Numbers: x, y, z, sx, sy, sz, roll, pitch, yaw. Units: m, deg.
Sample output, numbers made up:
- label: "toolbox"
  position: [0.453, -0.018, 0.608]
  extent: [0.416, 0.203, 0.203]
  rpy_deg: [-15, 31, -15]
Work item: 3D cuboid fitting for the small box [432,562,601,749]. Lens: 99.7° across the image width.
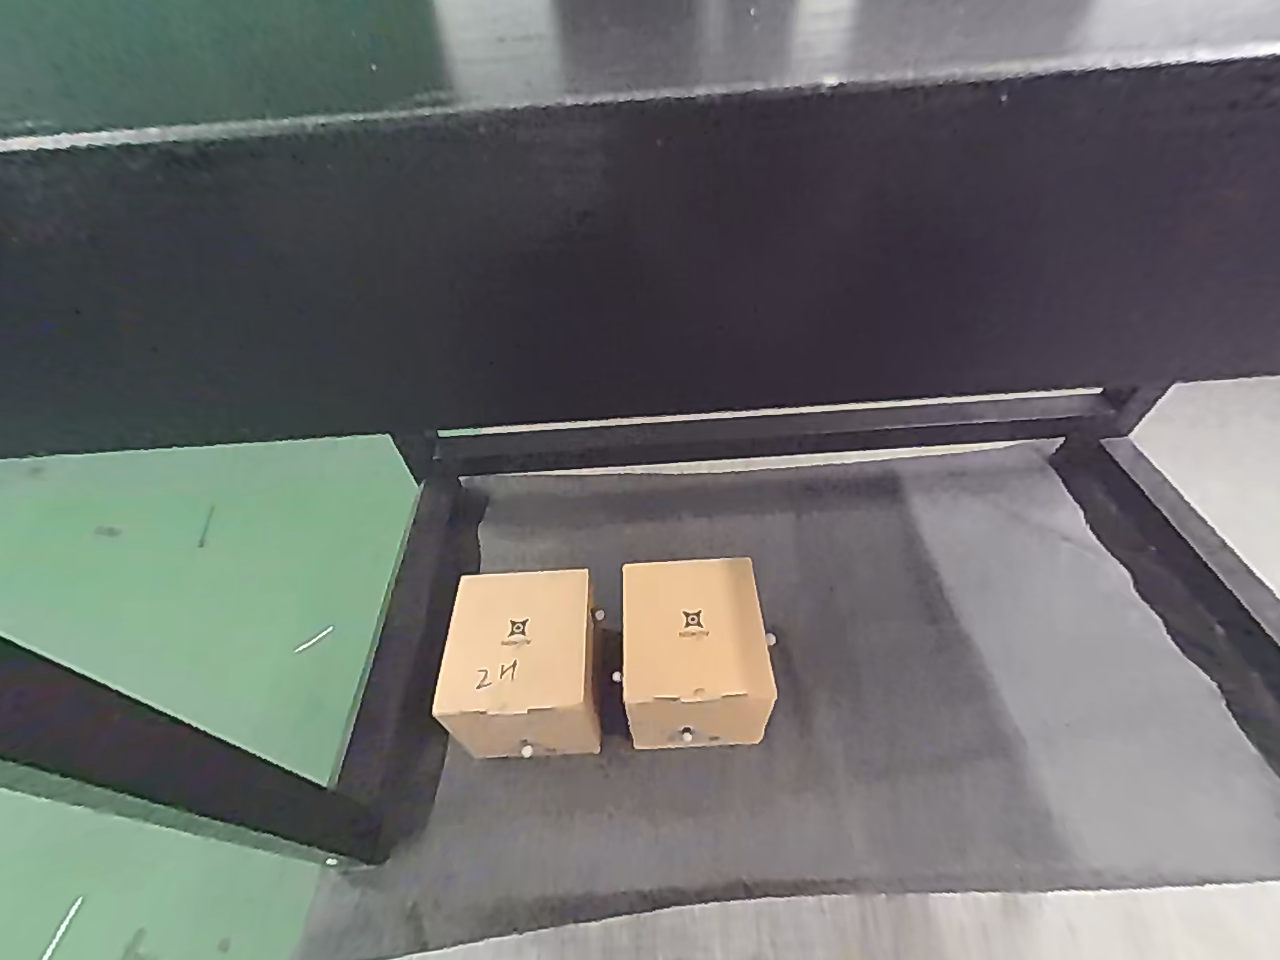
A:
- label: "small box"
  position: [-0.142, 0.226, 0.694]
  extent: [0.168, 0.176, 0.179]
  rpy_deg: [-3, 48, 2]
